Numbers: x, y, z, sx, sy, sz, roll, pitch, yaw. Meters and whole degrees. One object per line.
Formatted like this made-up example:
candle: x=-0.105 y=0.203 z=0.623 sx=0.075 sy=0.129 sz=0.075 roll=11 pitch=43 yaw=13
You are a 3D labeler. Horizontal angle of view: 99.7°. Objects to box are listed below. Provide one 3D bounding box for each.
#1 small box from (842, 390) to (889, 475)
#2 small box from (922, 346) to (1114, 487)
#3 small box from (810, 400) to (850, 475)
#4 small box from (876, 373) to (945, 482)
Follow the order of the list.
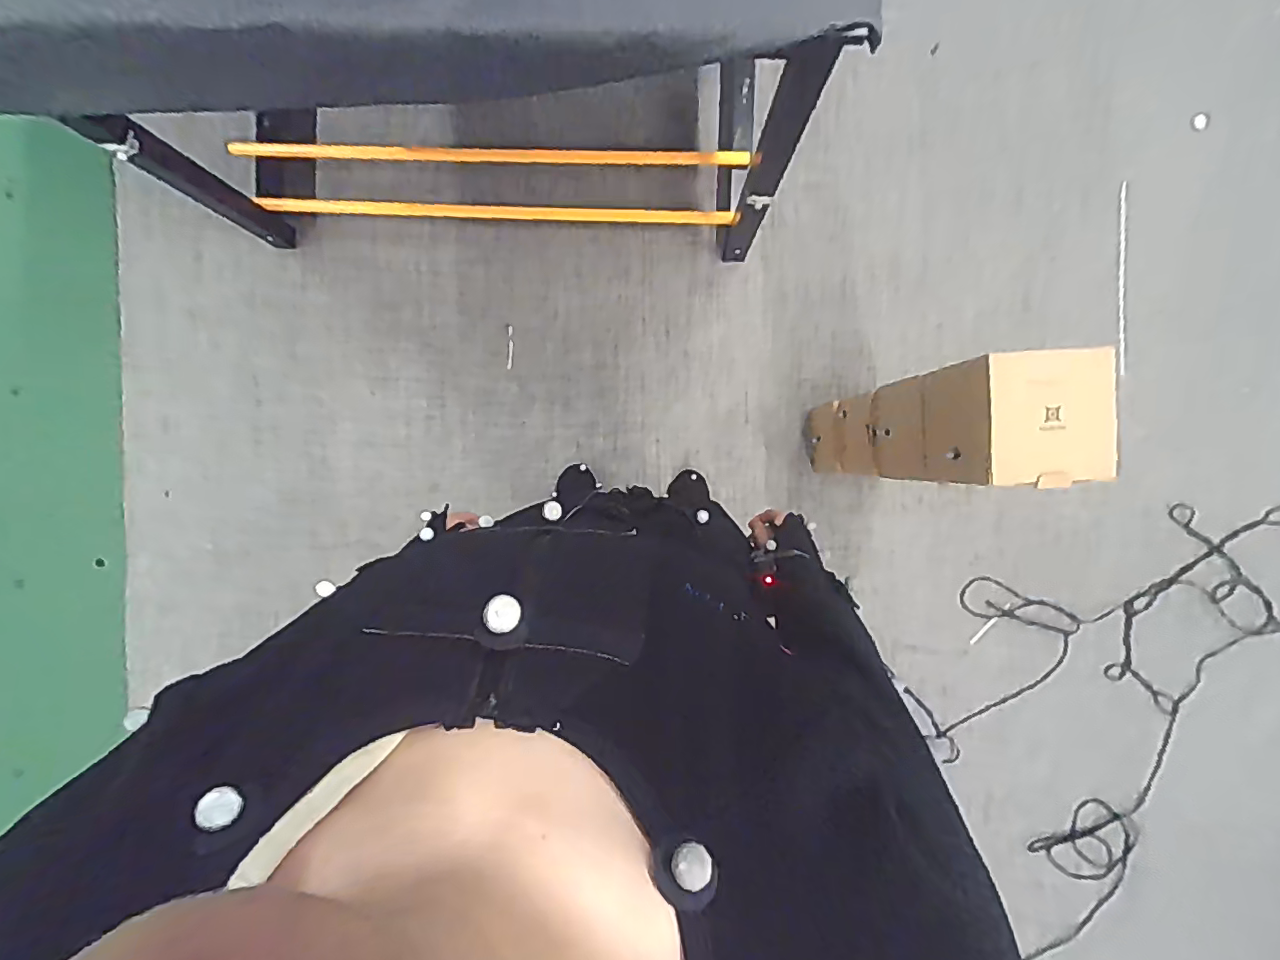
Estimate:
small box: x=0.526 y=-0.097 z=1.106 sx=0.179 sy=0.176 sz=0.168 roll=-4 pitch=92 yaw=0
small box: x=0.530 y=-0.085 z=0.779 sx=0.168 sy=0.176 sz=0.179 roll=-3 pitch=91 yaw=0
small box: x=0.516 y=-0.102 z=1.270 sx=0.179 sy=0.176 sz=0.168 roll=-5 pitch=91 yaw=1
small box: x=0.529 y=-0.092 z=0.942 sx=0.168 sy=0.176 sz=0.179 roll=-4 pitch=92 yaw=0
